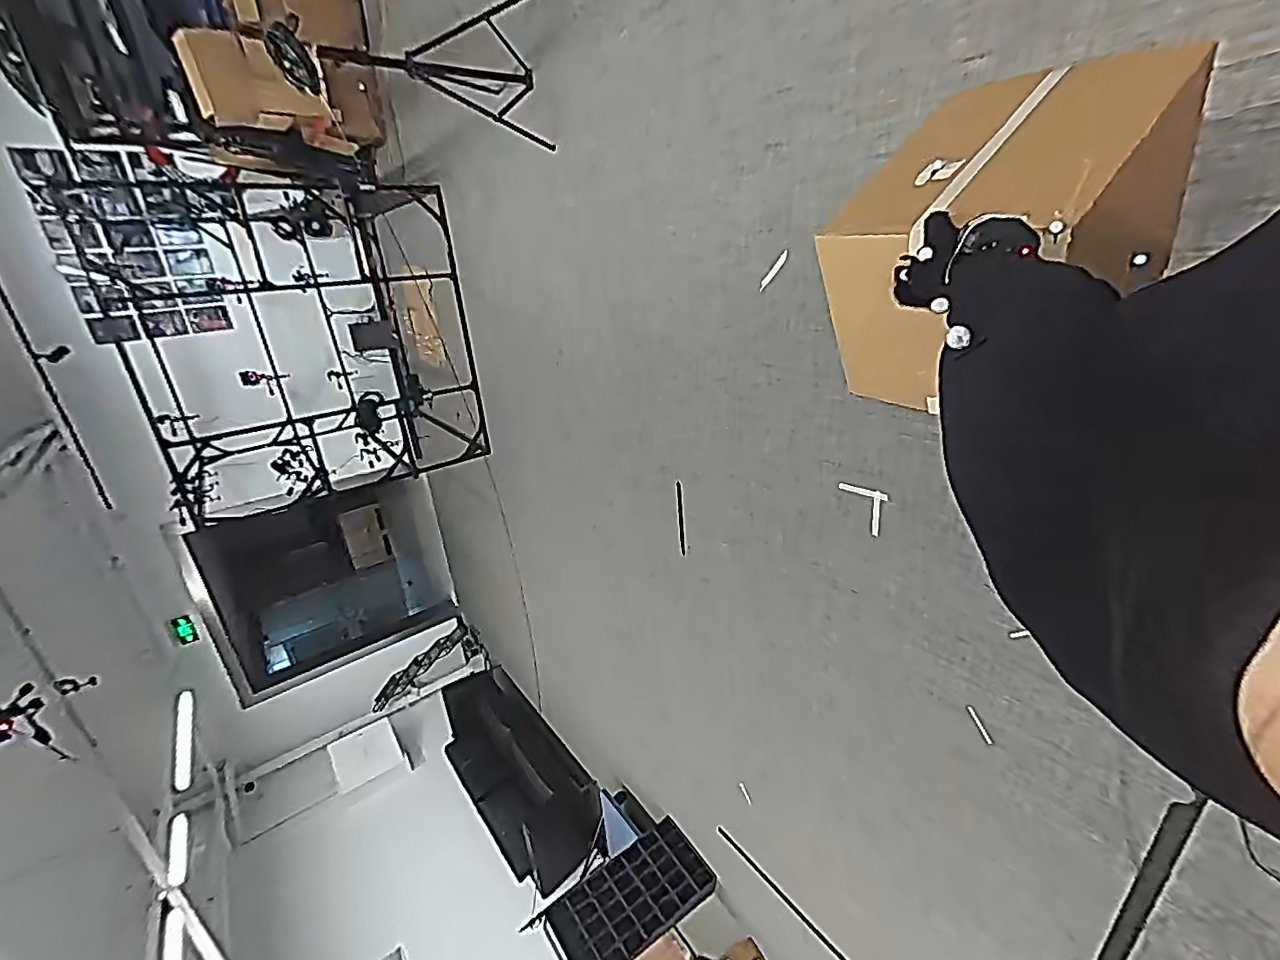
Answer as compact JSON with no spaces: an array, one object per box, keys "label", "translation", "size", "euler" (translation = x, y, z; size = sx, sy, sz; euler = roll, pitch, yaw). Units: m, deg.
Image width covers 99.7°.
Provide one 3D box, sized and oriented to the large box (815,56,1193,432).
[{"label":"large box","translation":[0.540,-0.345,0.831],"size":[0.320,0.408,0.320],"euler":[27,159,47]}]
